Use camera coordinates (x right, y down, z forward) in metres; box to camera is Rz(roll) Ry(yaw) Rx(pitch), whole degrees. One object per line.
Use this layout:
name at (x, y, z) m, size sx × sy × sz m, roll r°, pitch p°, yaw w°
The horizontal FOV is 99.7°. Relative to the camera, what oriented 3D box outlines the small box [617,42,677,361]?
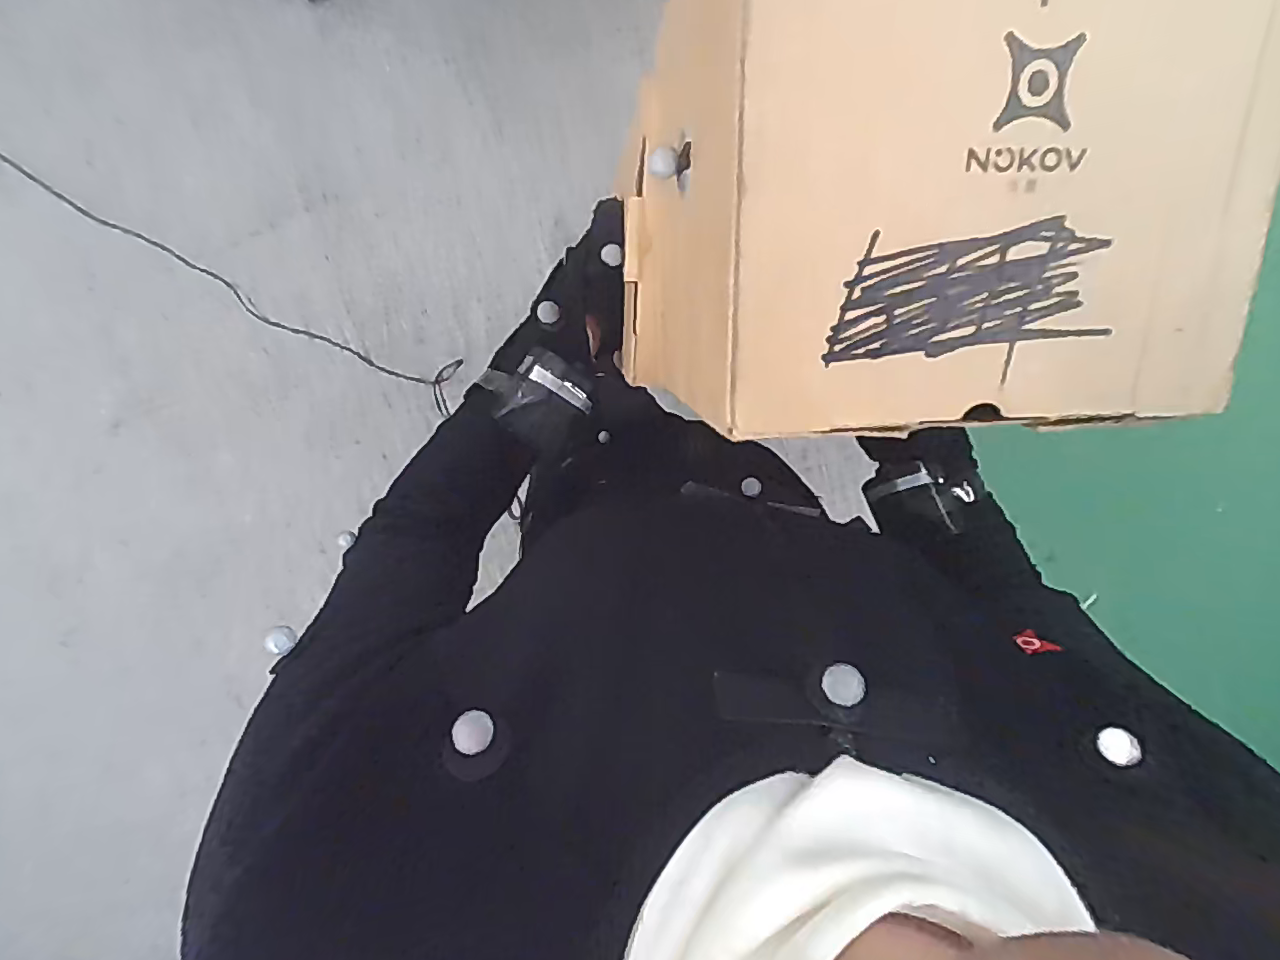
small box at (0.074, -0.170, 0.388) m, size 0.179 × 0.176 × 0.168 m, roll -1°, pitch 103°, yaw -6°
